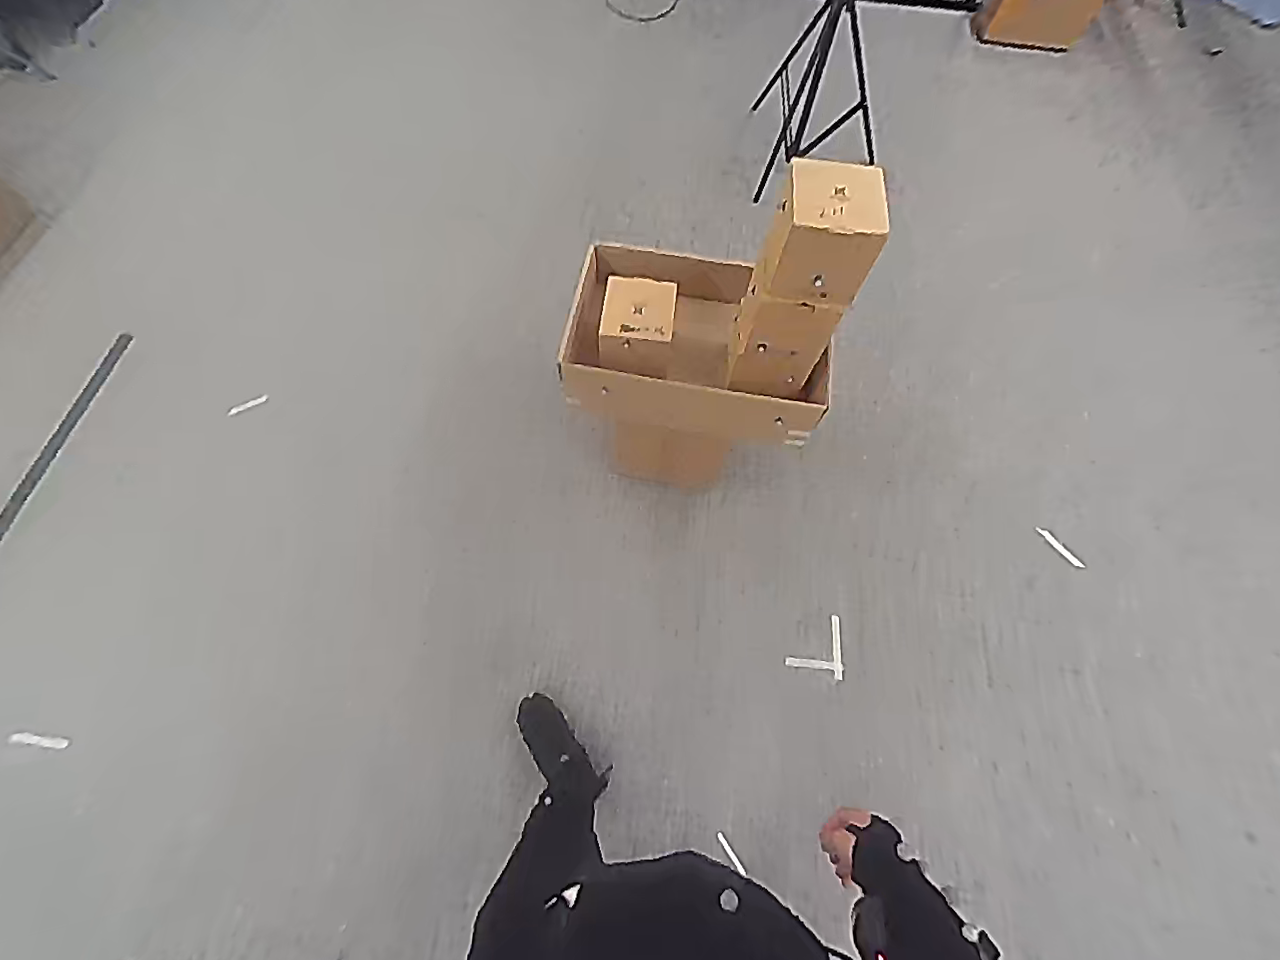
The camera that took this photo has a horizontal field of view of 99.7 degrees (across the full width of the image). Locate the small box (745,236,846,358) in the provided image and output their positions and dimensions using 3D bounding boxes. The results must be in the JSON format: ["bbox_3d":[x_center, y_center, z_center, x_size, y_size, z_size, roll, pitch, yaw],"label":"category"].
[{"bbox_3d":[0.322,-0.380,1.146,0.168,0.176,0.179,7,66,0],"label":"small box"}]

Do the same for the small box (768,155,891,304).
[{"bbox_3d":[0.340,-0.458,1.001,0.168,0.176,0.179,6,67,0],"label":"small box"}]

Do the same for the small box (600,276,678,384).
[{"bbox_3d":[-0.004,-0.358,1.304,0.168,0.176,0.179,6,66,1],"label":"small box"}]
